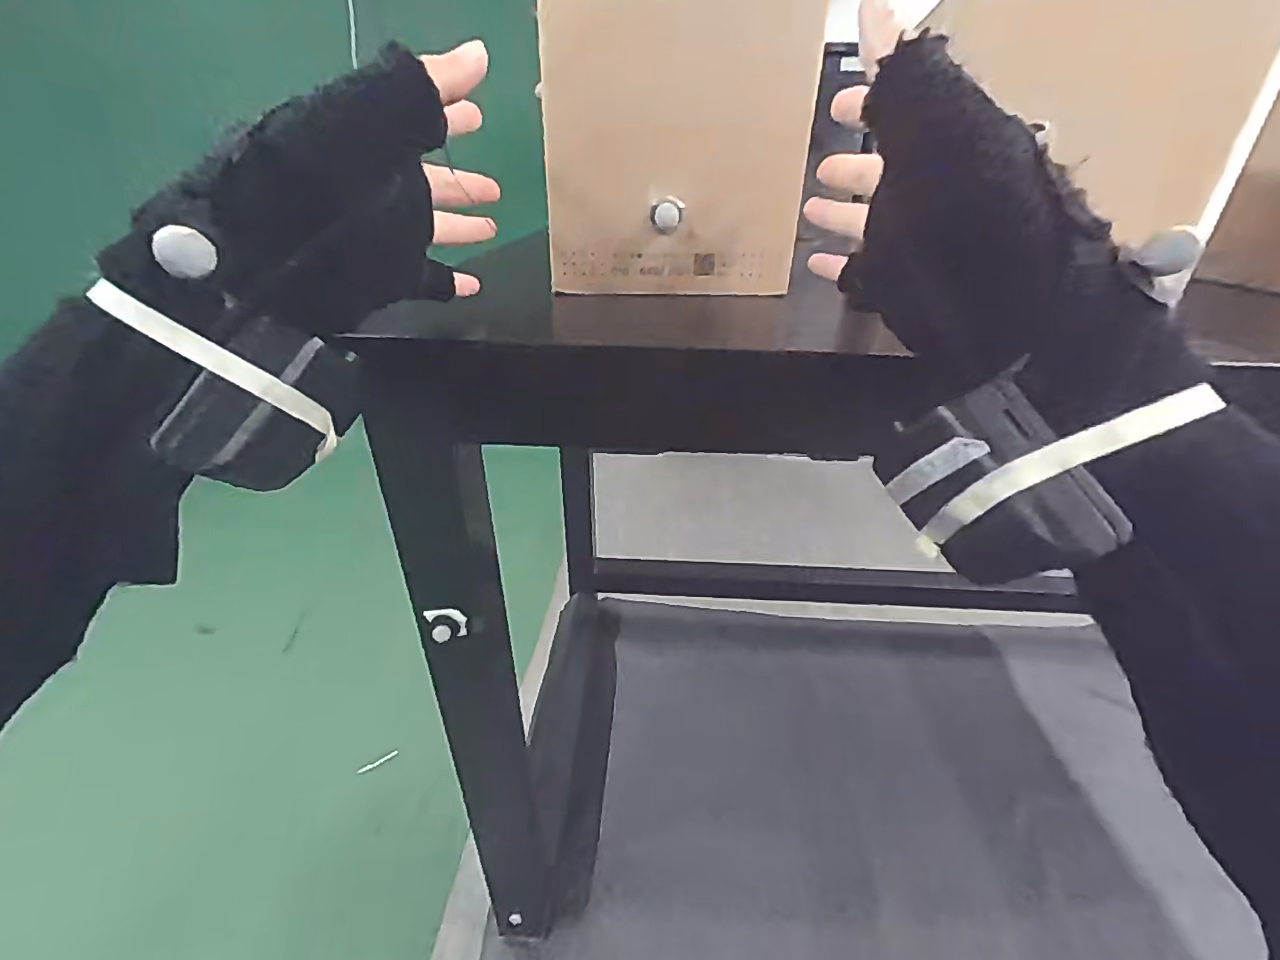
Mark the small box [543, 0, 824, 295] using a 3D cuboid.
[{"bbox_3d":[0.020,-0.248,0.417,0.168,0.176,0.179,-1,30,-3],"label":"small box"}]

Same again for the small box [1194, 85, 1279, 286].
[{"bbox_3d":[0.554,-0.212,0.362,0.168,0.176,0.179,-1,29,-1],"label":"small box"}]
